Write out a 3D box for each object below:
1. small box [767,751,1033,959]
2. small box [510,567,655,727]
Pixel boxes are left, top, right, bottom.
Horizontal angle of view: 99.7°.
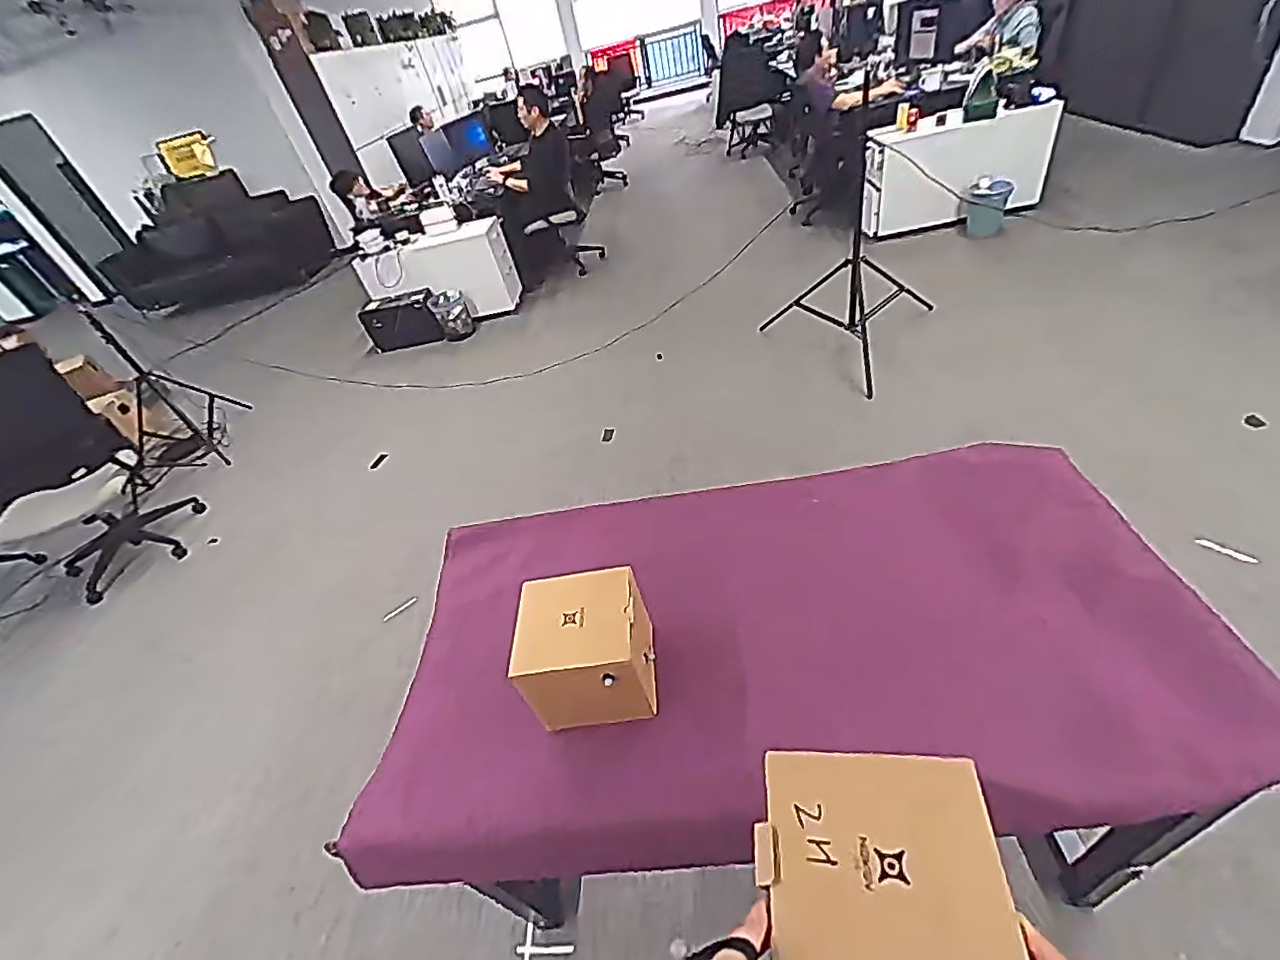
[{"bbox_3d":[0.210,0.357,0.472,0.179,0.176,0.168,-7,41,16],"label":"small box"},{"bbox_3d":[-0.080,0.263,0.837,0.179,0.176,0.168,-10,40,6],"label":"small box"}]
